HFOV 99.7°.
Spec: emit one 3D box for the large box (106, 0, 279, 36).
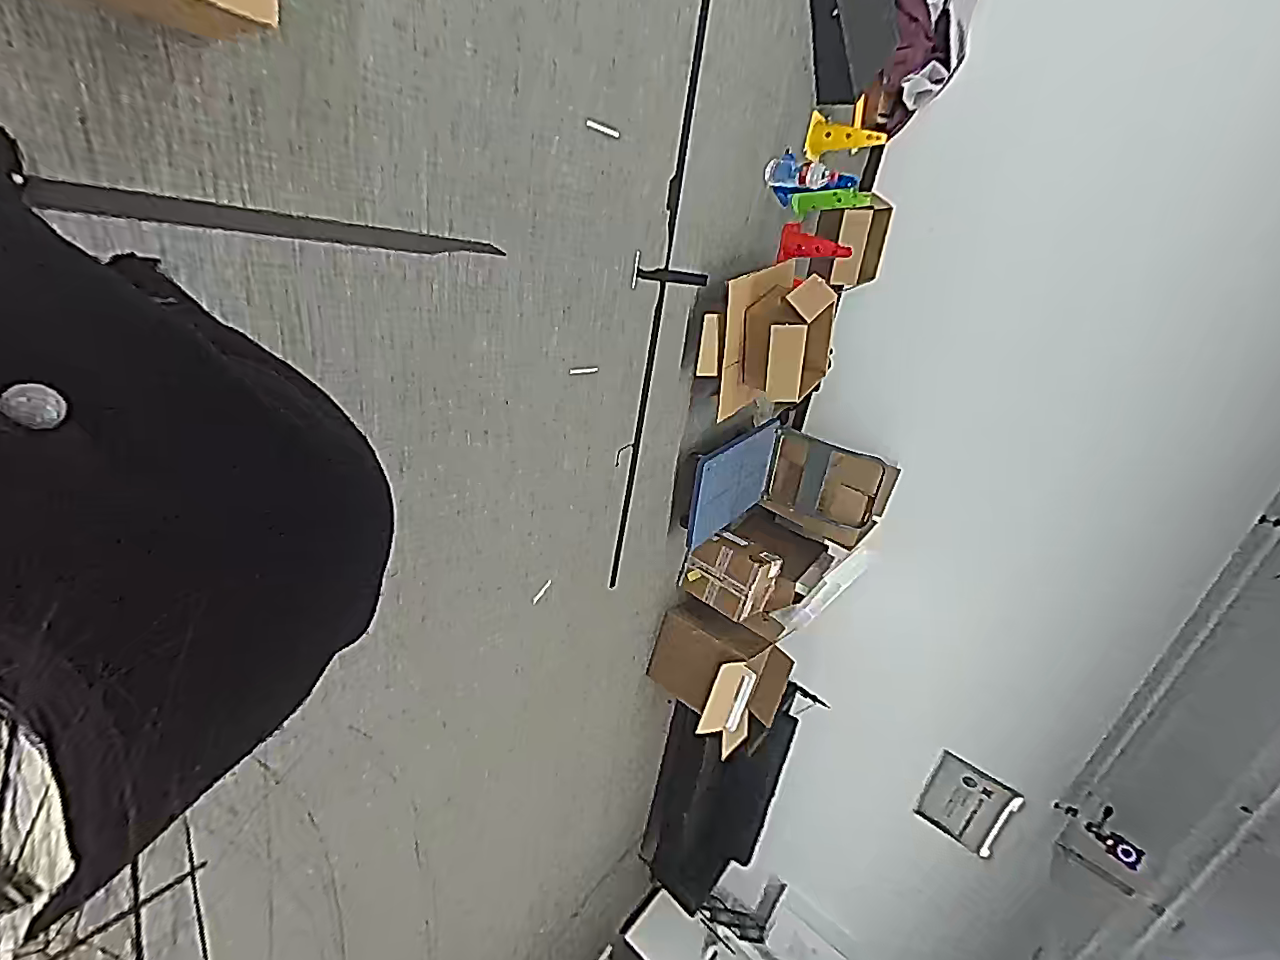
[{"bbox_3d":[-0.780,-0.871,0.722,0.408,0.320,0.320,-17,126,-51],"label":"large box"}]
